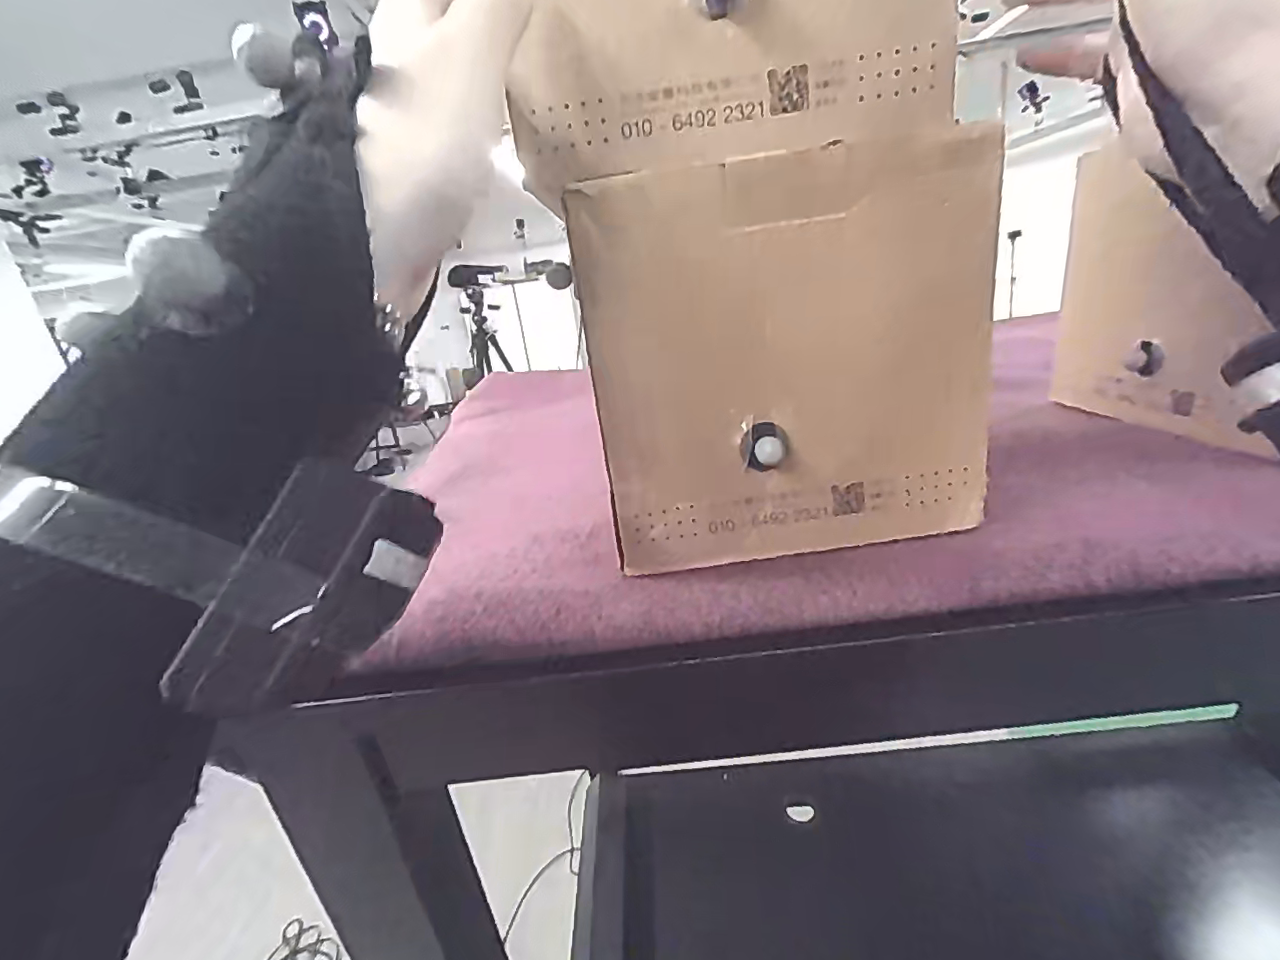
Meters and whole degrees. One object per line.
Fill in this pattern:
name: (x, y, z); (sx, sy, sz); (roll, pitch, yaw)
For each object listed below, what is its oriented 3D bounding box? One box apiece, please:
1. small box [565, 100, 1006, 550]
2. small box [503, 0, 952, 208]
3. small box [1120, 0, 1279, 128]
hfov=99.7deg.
small box: (0.059, -0.077, 0.301); (0.168, 0.176, 0.179); (-8, 19, 0)
small box: (0.027, -0.234, 0.259); (0.168, 0.176, 0.179); (-7, 19, 3)
small box: (0.365, -0.277, 0.236); (0.168, 0.176, 0.179); (-7, 21, 7)
